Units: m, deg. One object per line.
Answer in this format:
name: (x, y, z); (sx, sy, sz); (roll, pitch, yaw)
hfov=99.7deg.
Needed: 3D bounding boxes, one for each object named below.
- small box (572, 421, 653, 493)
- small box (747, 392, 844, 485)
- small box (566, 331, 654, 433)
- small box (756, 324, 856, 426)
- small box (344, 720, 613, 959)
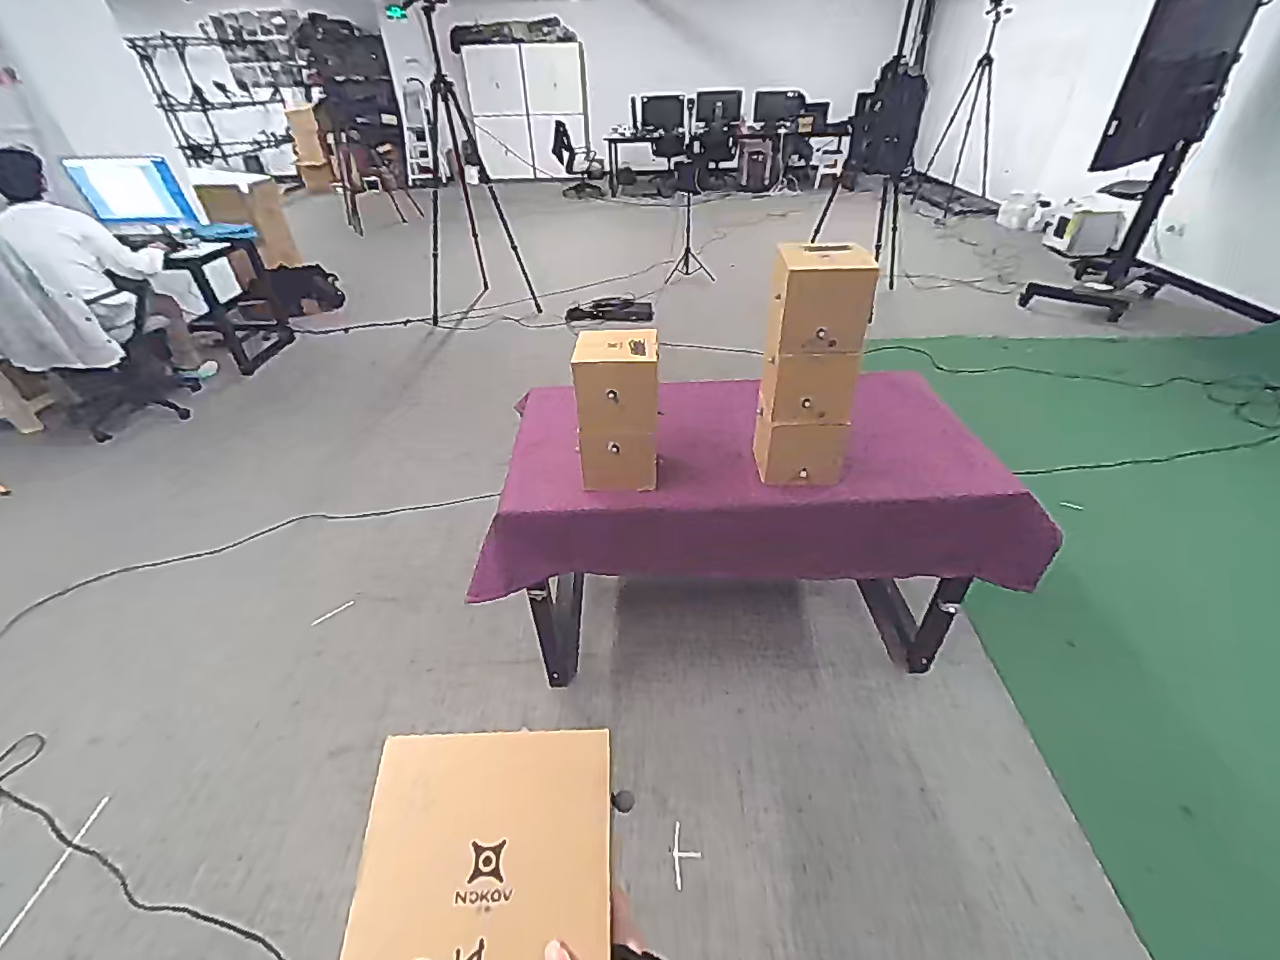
small box: (-0.059, -0.083, 1.289); (0.179, 0.176, 0.168); (1, 38, 2)
small box: (0.362, -0.098, 1.290); (0.179, 0.176, 0.168); (0, 37, 1)
small box: (-0.057, -0.214, 1.192); (0.179, 0.176, 0.168); (-1, 38, 3)
small box: (0.356, -0.235, 1.201); (0.168, 0.176, 0.179); (-1, 38, 2)
small box: (-0.106, 0.301, 0.429); (0.168, 0.176, 0.179); (-1, 57, -3)
